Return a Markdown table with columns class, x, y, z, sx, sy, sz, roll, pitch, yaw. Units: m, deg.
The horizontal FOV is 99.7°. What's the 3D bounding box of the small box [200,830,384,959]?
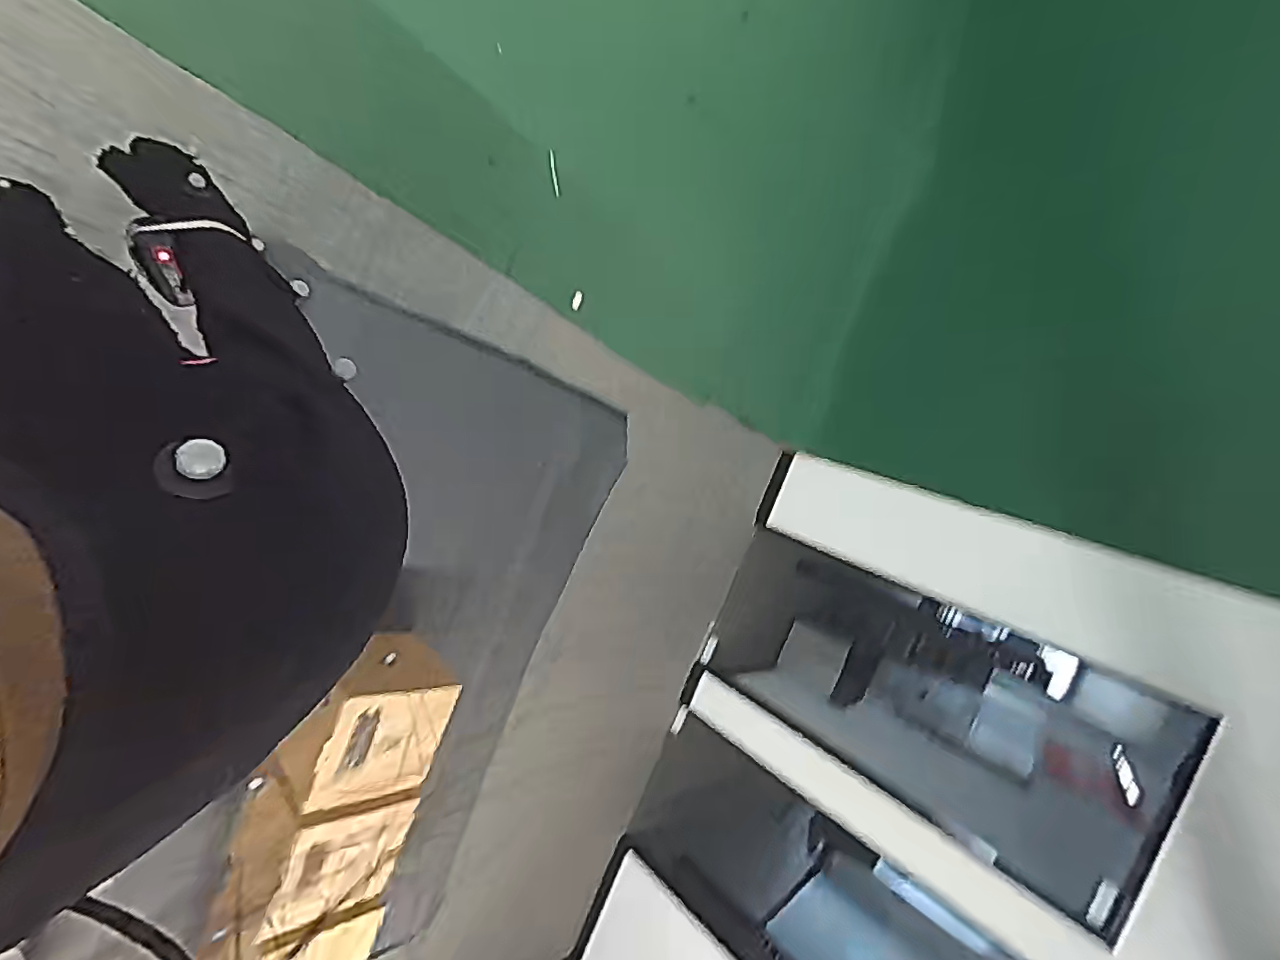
| class | x | y | z | sx | sy | sz | roll | pitch | yaw |
| --- | --- | --- | --- | --- | --- | --- | --- | --- | --- |
| small box | -0.546 | 0.694 | 0.848 | 0.179 | 0.176 | 0.168 | 21 | 93 | -51 |
